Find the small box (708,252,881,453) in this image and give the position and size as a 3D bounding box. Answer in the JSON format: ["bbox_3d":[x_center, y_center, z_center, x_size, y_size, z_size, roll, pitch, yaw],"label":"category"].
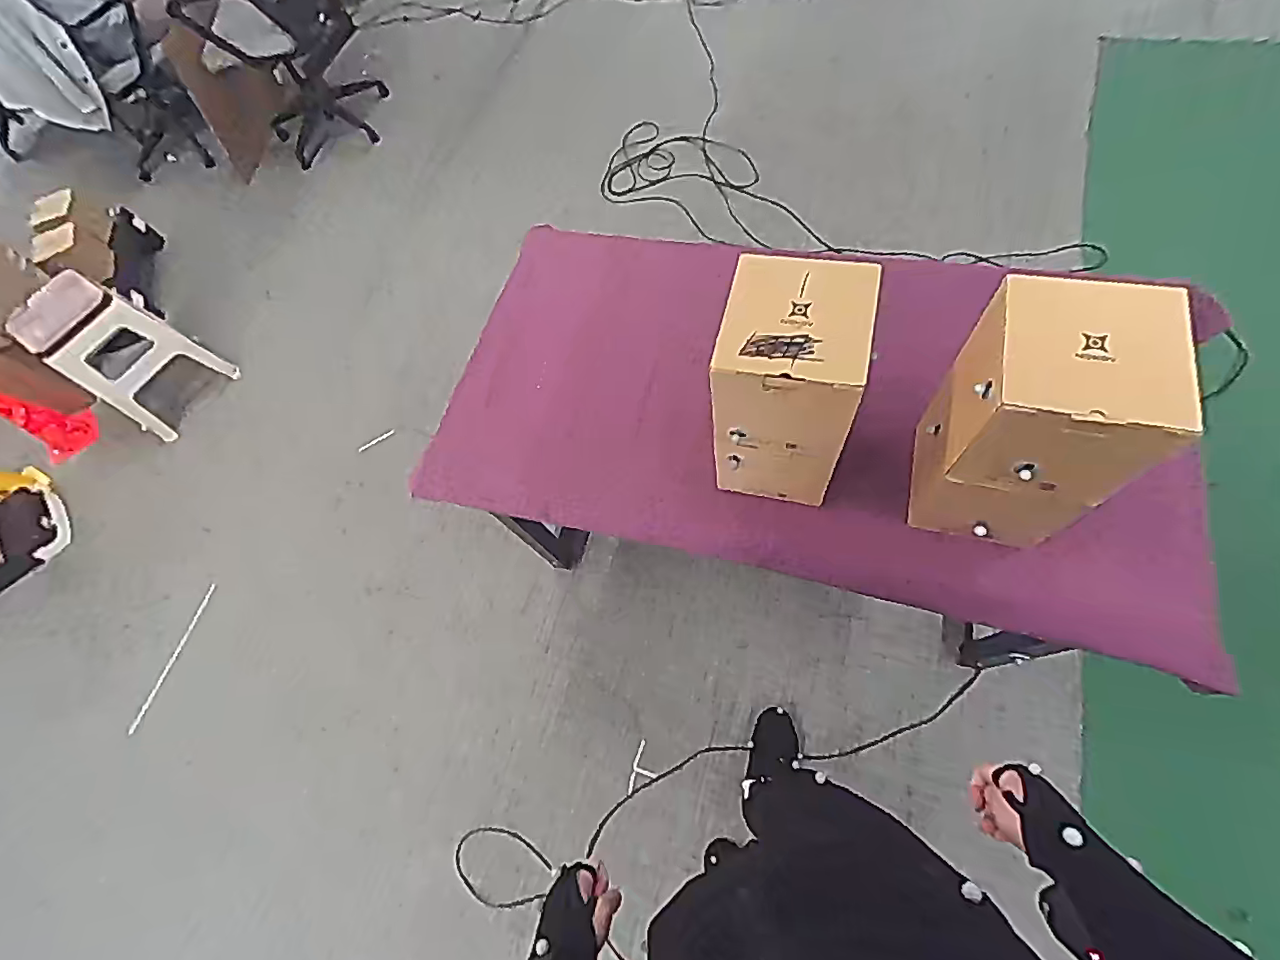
[{"bbox_3d":[0.189,-0.153,0.680,0.168,0.176,0.179,12,68,14],"label":"small box"}]

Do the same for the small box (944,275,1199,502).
[{"bbox_3d":[0.462,-0.097,0.609,0.168,0.176,0.179,12,69,15],"label":"small box"}]

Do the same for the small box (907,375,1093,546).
[{"bbox_3d":[0.488,-0.028,0.754,0.168,0.176,0.179,12,68,15],"label":"small box"}]
